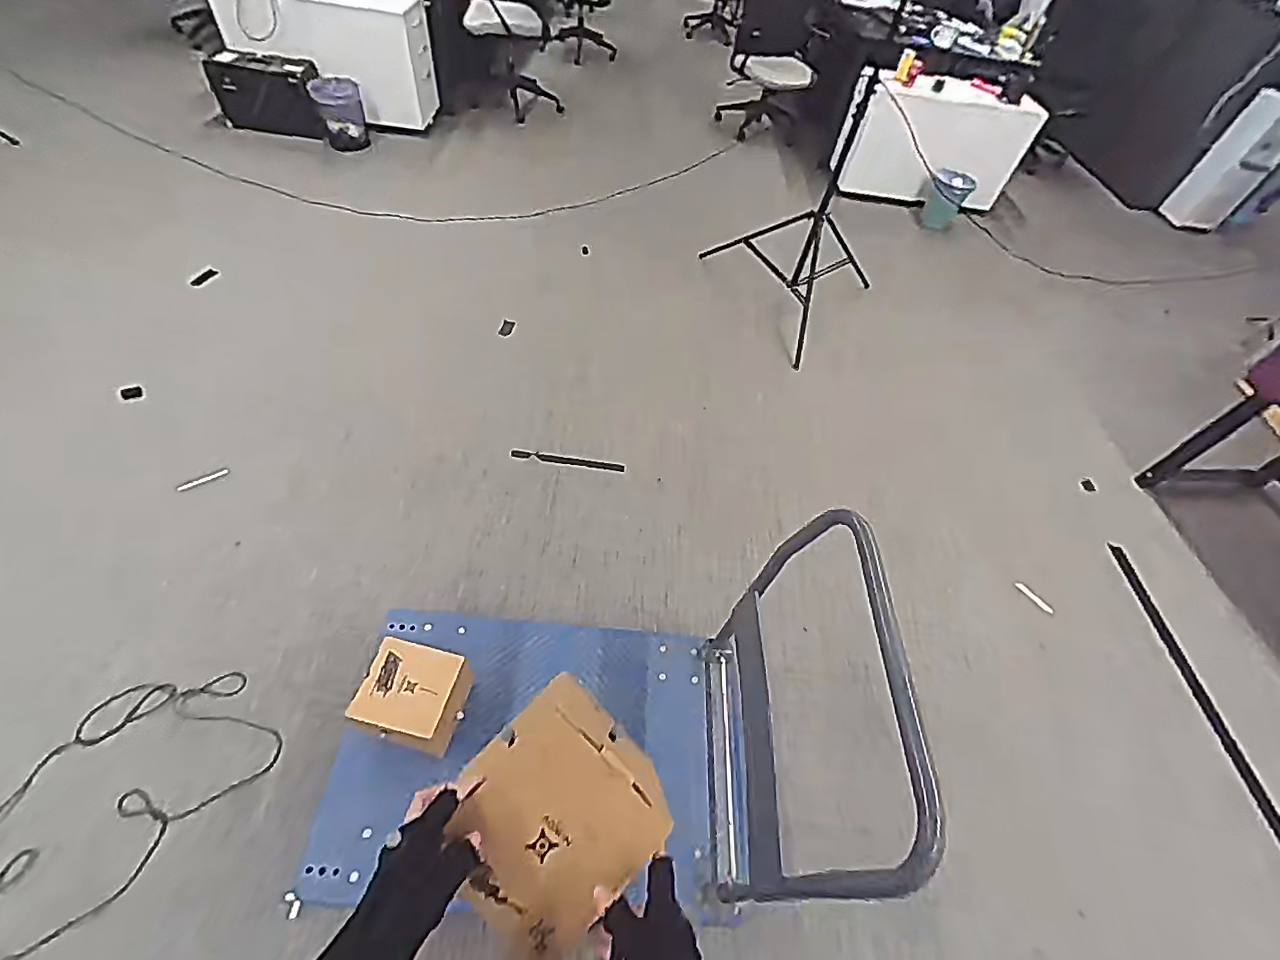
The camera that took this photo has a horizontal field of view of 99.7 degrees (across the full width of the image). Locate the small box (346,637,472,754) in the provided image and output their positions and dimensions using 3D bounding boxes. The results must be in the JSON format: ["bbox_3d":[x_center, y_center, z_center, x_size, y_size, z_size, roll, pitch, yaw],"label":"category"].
[{"bbox_3d":[-0.474,0.459,1.141,0.179,0.176,0.168,15,52,1],"label":"small box"}]

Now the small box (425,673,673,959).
[{"bbox_3d":[-0.093,0.339,0.585,0.179,0.176,0.168,-43,89,-10],"label":"small box"}]
